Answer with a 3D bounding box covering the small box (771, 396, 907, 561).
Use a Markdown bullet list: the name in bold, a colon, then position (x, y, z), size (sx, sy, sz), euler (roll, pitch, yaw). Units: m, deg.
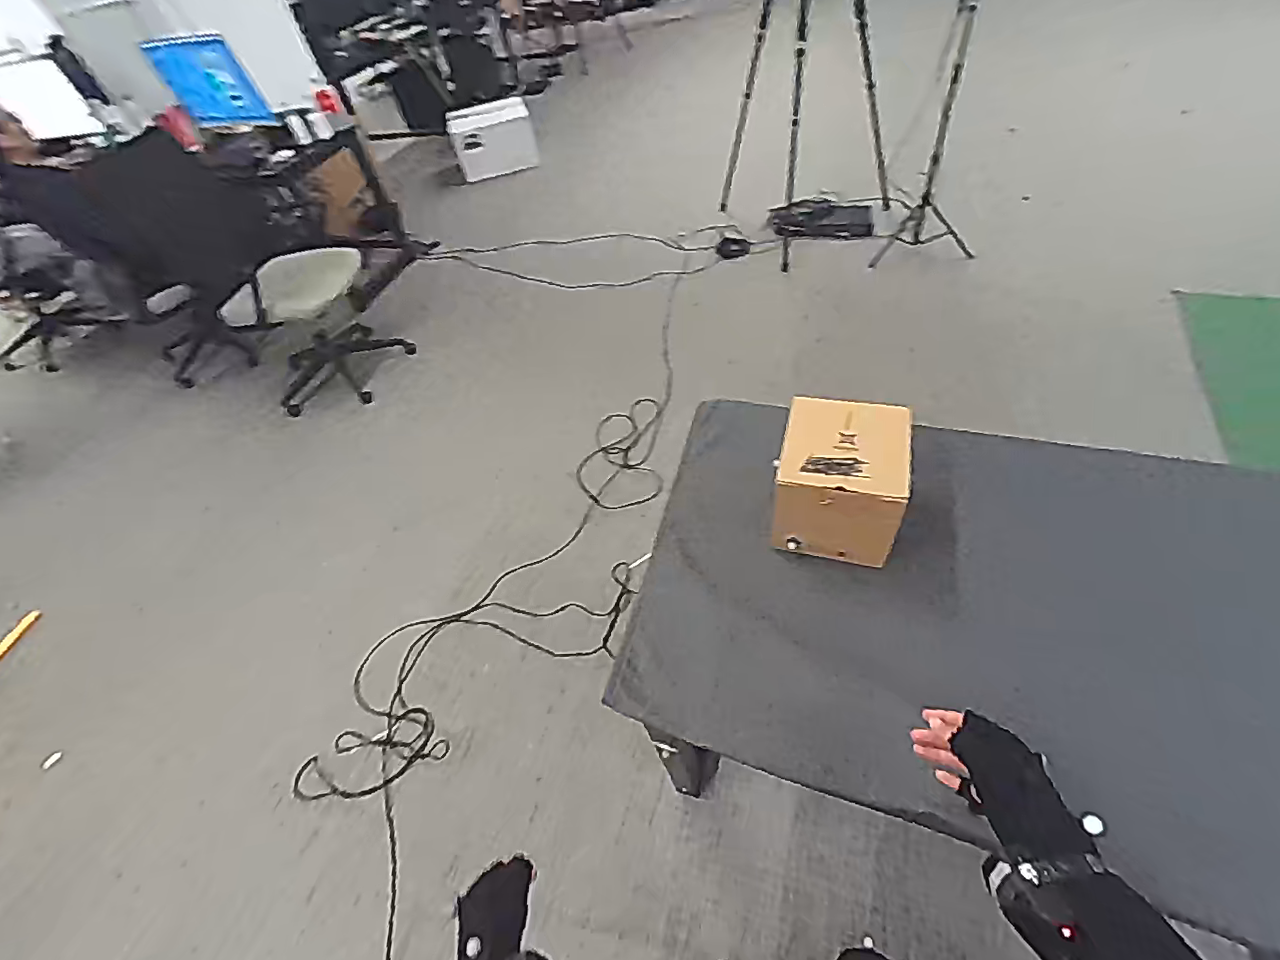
- **small box**: position (0.293, 0.000, 0.813), size (0.168, 0.176, 0.179), euler (9, 52, 17)
